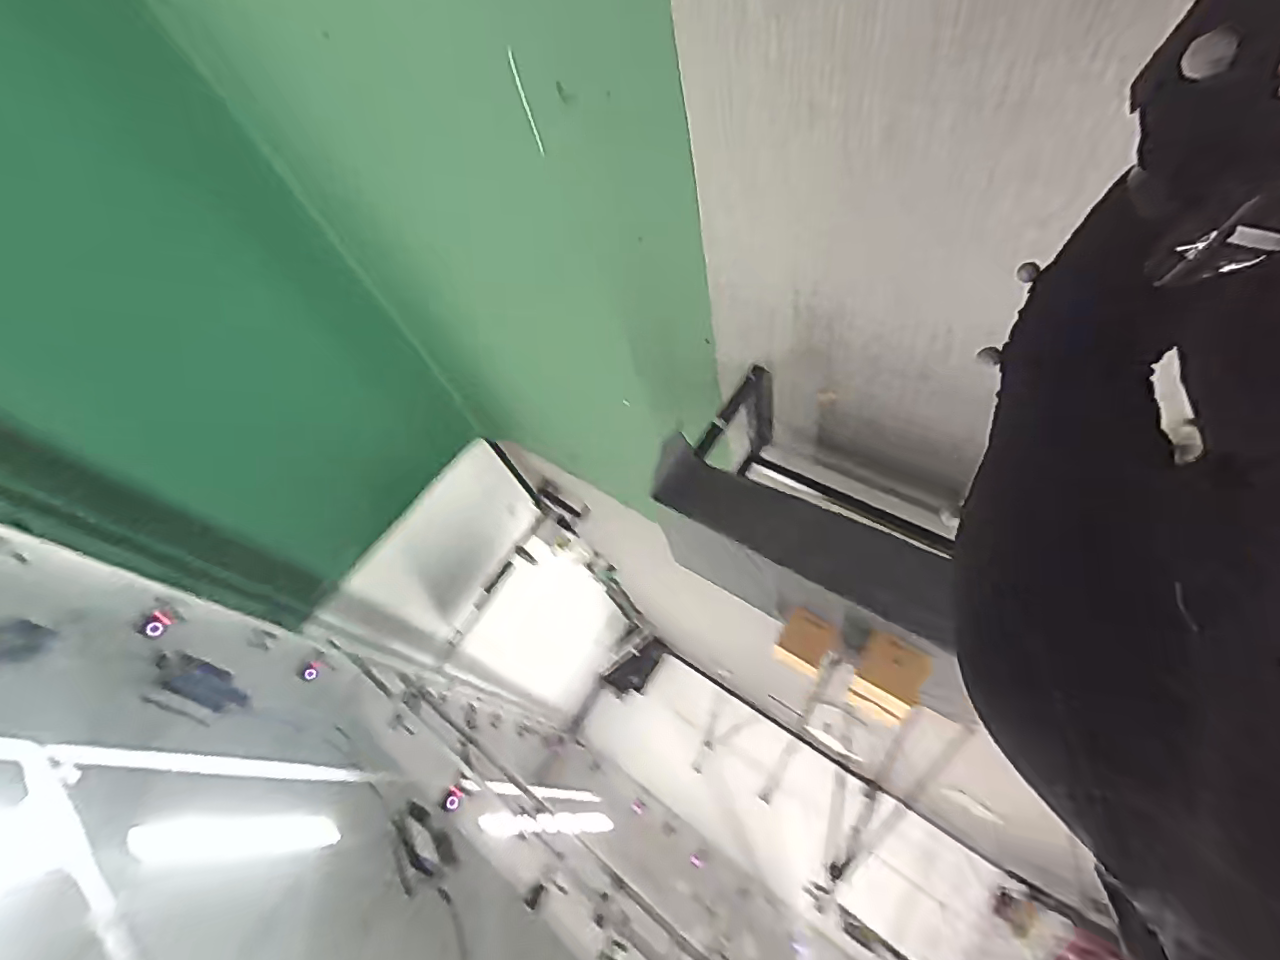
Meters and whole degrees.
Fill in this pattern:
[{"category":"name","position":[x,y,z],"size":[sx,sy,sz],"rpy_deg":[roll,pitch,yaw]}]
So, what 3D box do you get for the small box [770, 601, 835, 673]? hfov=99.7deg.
[{"category":"small box","position":[0.589,0.567,1.957],"size":[0.168,0.176,0.179],"rpy_deg":[28,158,24]}]
